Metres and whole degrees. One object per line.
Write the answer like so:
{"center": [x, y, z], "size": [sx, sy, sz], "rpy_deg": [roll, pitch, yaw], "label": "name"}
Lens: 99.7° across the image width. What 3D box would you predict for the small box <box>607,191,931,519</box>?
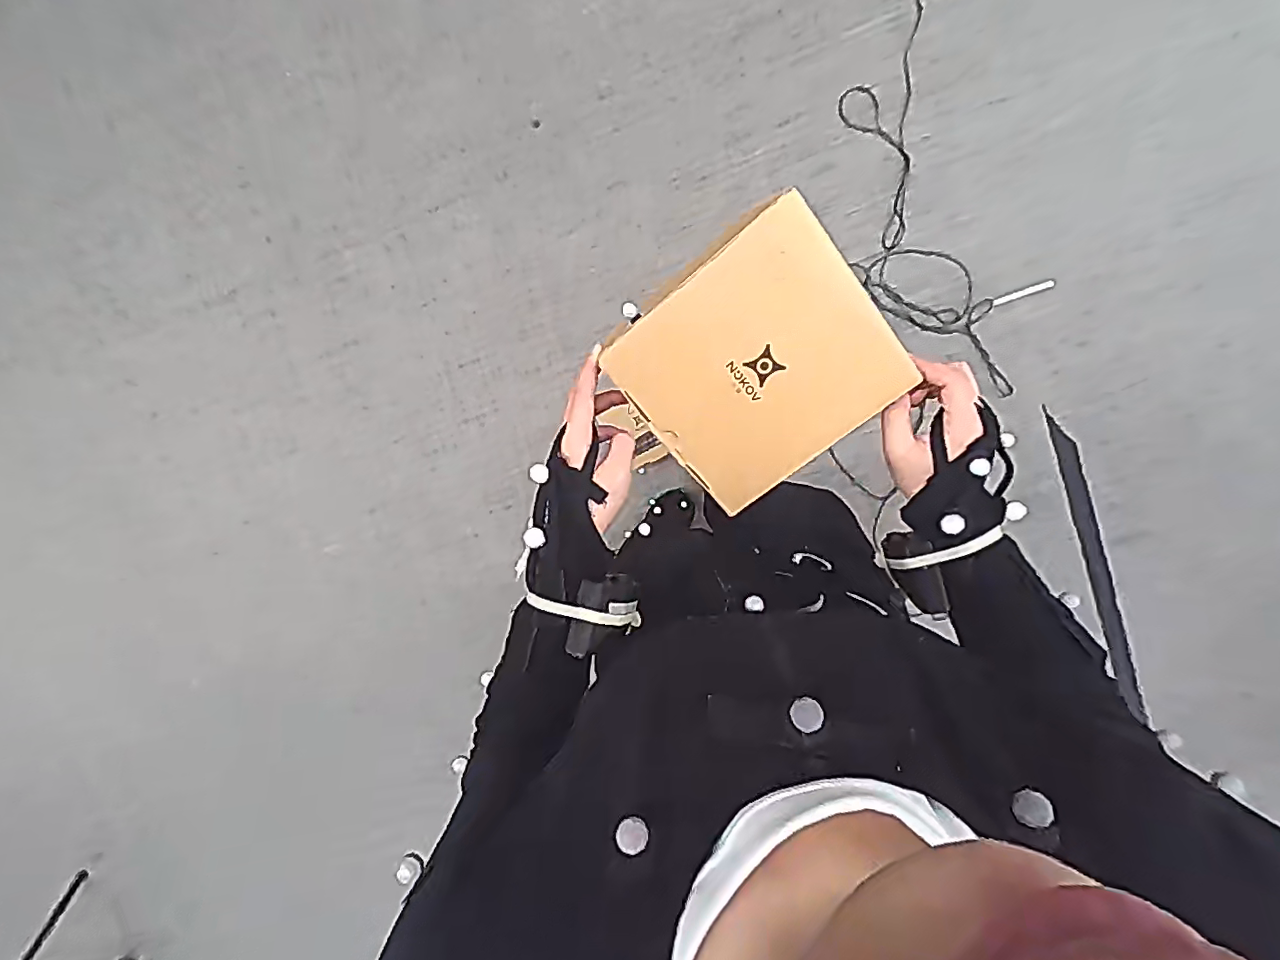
{"center": [0.092, -0.106, 0.454], "size": [0.179, 0.176, 0.168], "rpy_deg": [-38, 106, 16], "label": "small box"}
